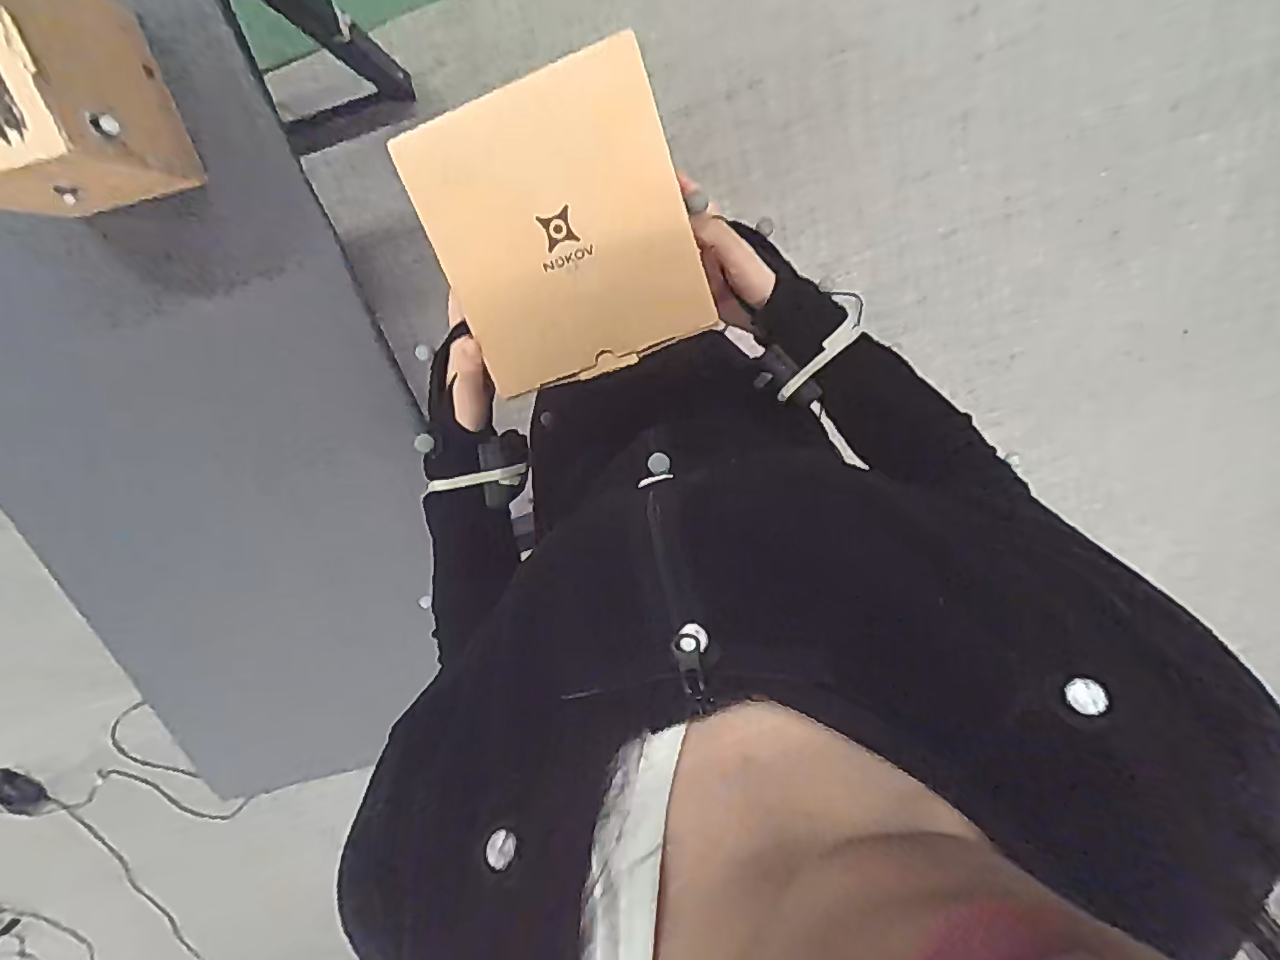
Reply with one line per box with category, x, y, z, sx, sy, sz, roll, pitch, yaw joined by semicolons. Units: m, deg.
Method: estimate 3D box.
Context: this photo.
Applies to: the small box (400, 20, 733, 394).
small box;-0.040;-0.186;0.413;0.168;0.176;0.179;-17;110;8
